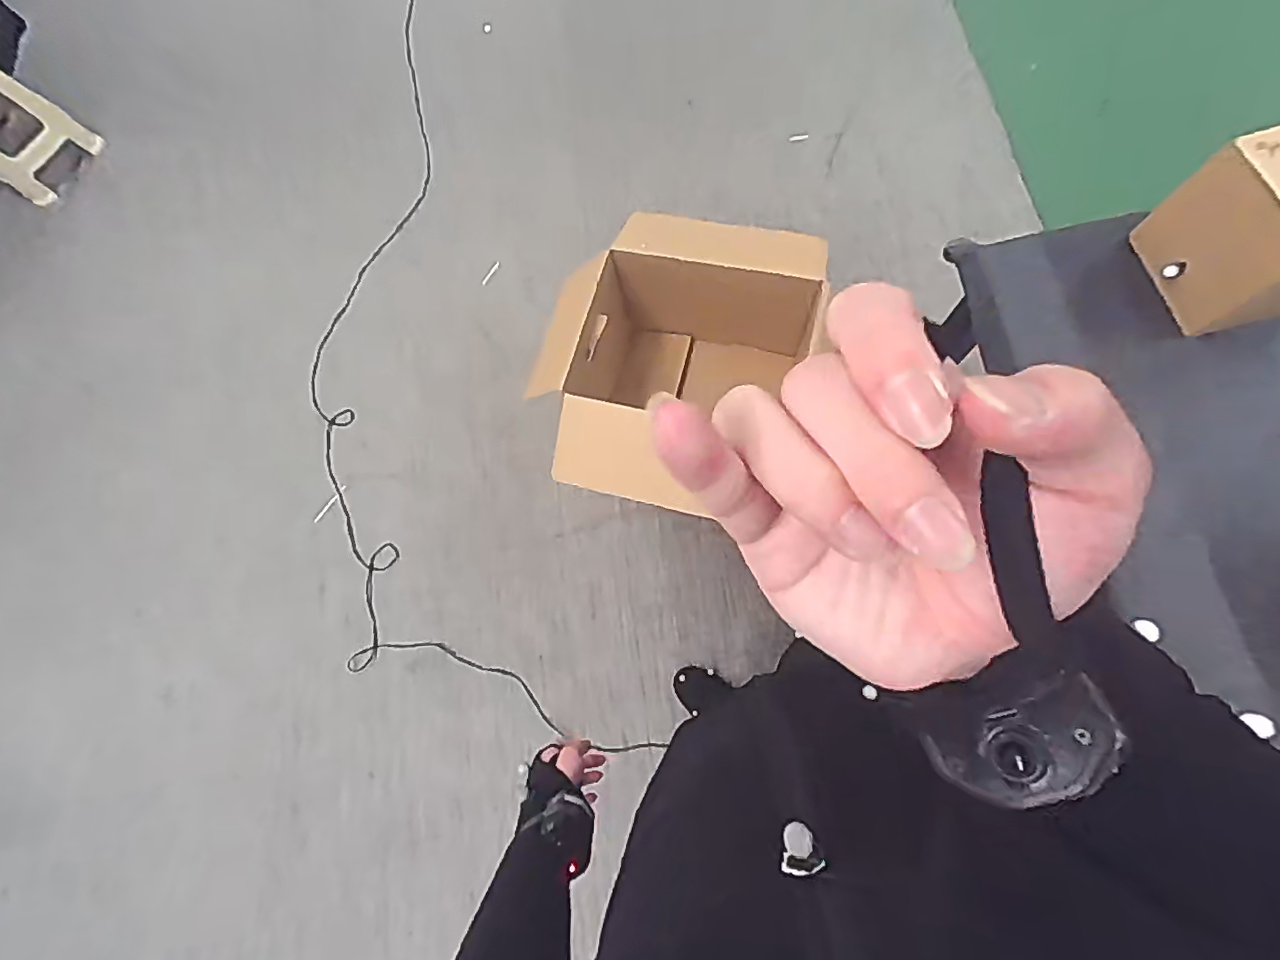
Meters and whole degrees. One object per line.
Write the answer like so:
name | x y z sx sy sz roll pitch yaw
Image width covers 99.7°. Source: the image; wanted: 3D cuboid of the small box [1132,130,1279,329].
small box | 0.790 -0.309 0.675 0.168 0.176 0.179 -15 75 3
